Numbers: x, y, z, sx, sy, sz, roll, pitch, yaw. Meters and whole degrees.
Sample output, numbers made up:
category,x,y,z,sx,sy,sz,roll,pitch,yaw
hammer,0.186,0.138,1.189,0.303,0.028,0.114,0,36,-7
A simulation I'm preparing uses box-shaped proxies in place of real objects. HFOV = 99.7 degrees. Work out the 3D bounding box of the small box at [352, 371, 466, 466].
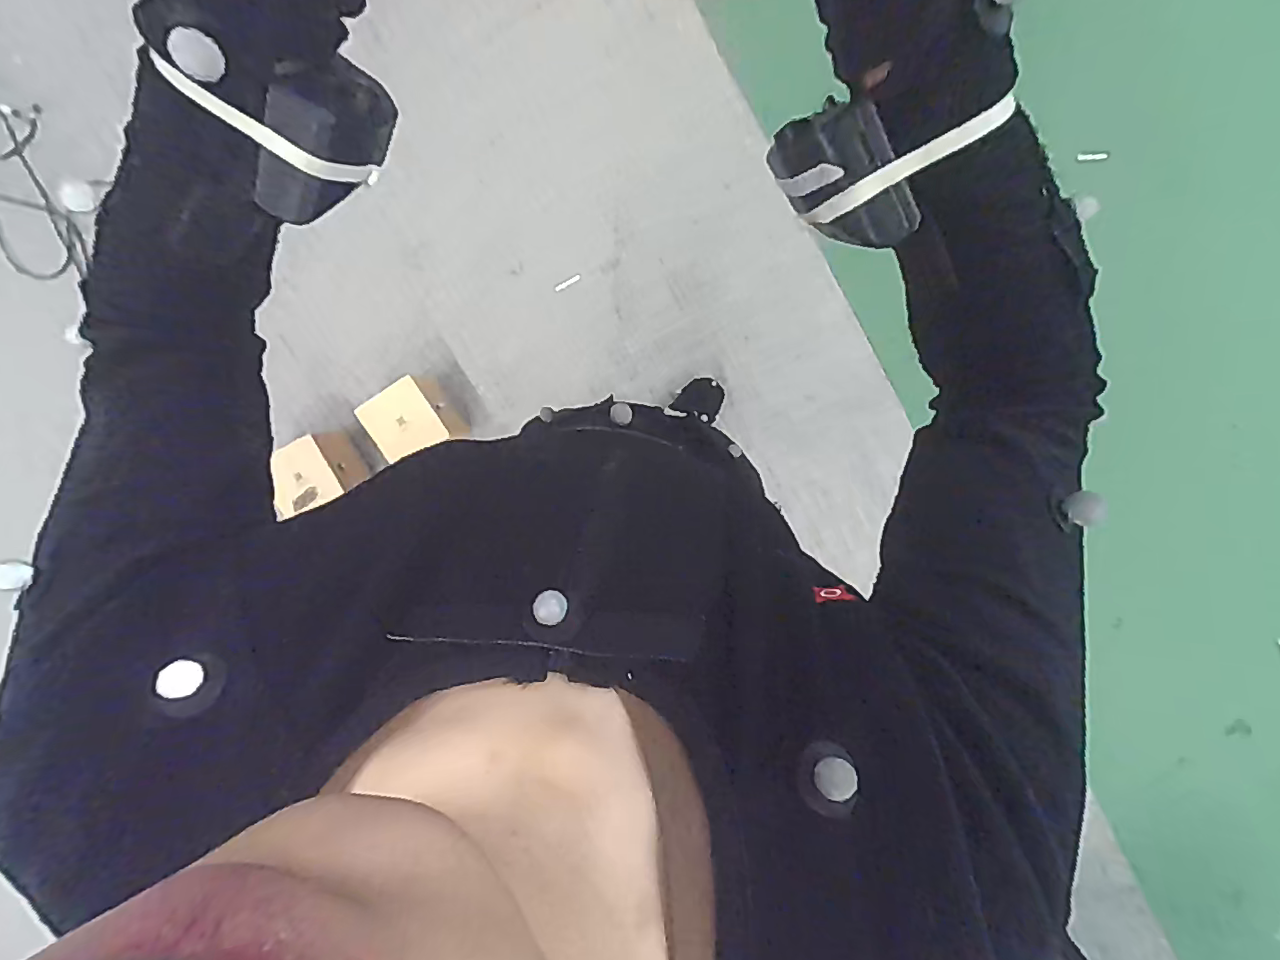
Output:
category,x,y,z,sx,sy,sz,roll,pitch,yaw
small box,-0.576,-0.156,1.372,0.168,0.176,0.179,-32,99,4

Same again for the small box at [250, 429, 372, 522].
category,x,y,z,sx,sy,sz,roll,pitch,yaw
small box,-0.832,-0.019,1.388,0.168,0.176,0.179,-27,98,4
